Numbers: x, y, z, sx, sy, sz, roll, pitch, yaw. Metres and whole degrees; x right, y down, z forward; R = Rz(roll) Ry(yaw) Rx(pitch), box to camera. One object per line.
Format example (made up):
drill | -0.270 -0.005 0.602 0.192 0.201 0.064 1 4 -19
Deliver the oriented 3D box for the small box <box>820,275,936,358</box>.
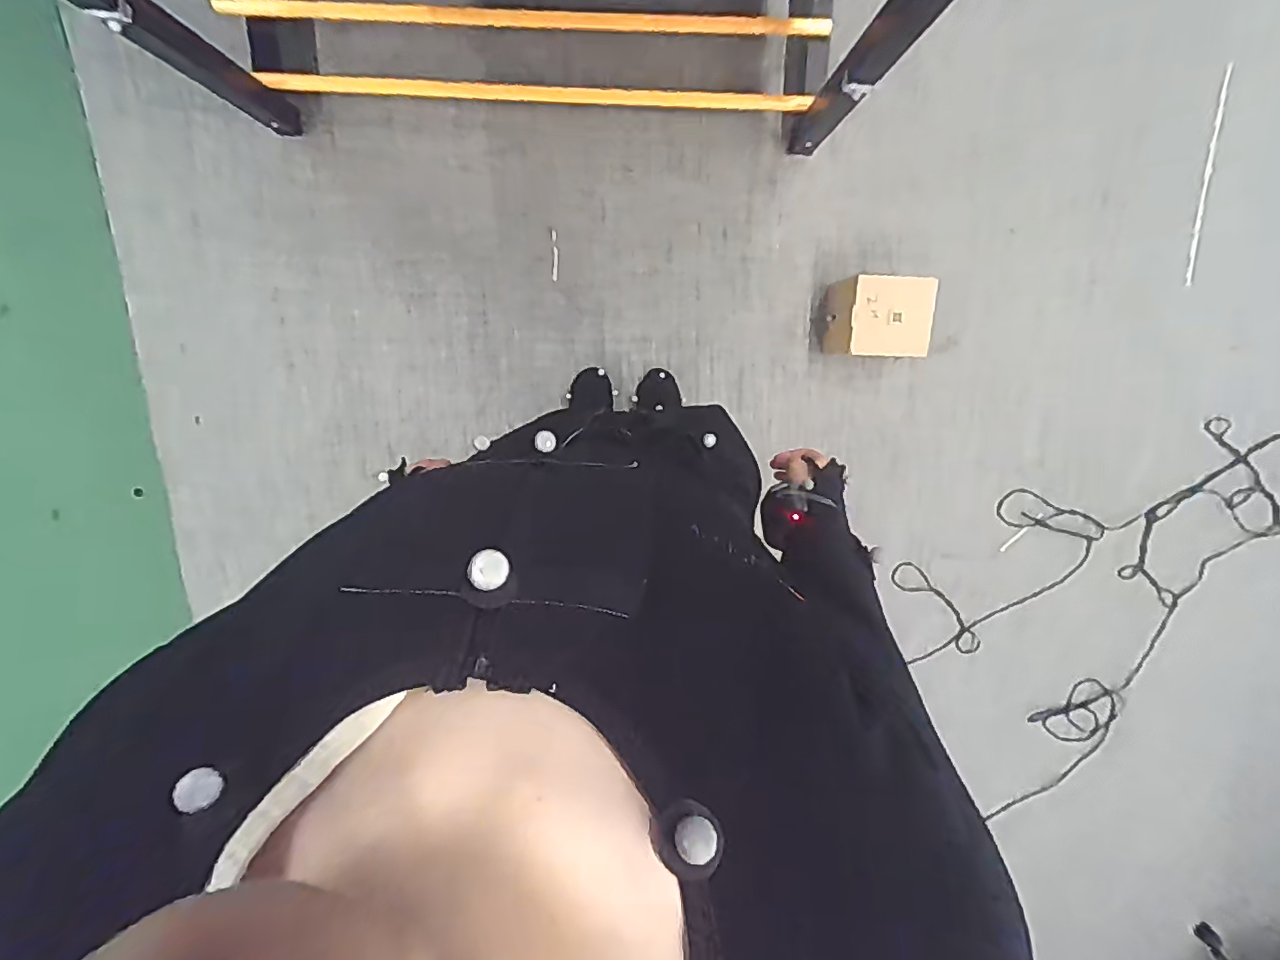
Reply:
small box | 0.531 -0.364 1.229 0.179 0.176 0.168 1 102 -2
